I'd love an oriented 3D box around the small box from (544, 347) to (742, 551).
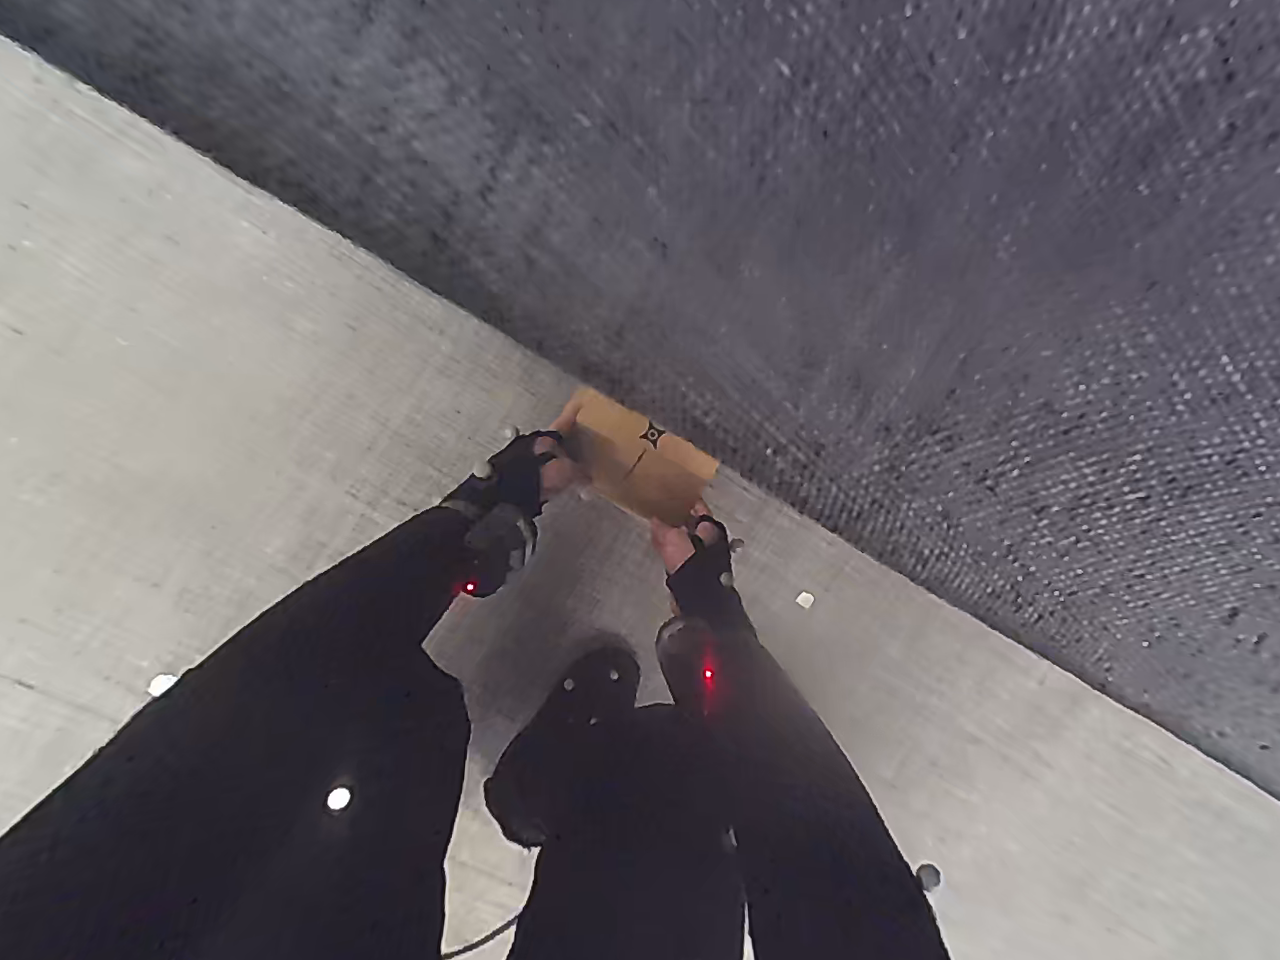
[{"bbox_3d":[-0.009,-0.036,0.681,0.168,0.176,0.179,33,84,-13],"label":"small box"}]
